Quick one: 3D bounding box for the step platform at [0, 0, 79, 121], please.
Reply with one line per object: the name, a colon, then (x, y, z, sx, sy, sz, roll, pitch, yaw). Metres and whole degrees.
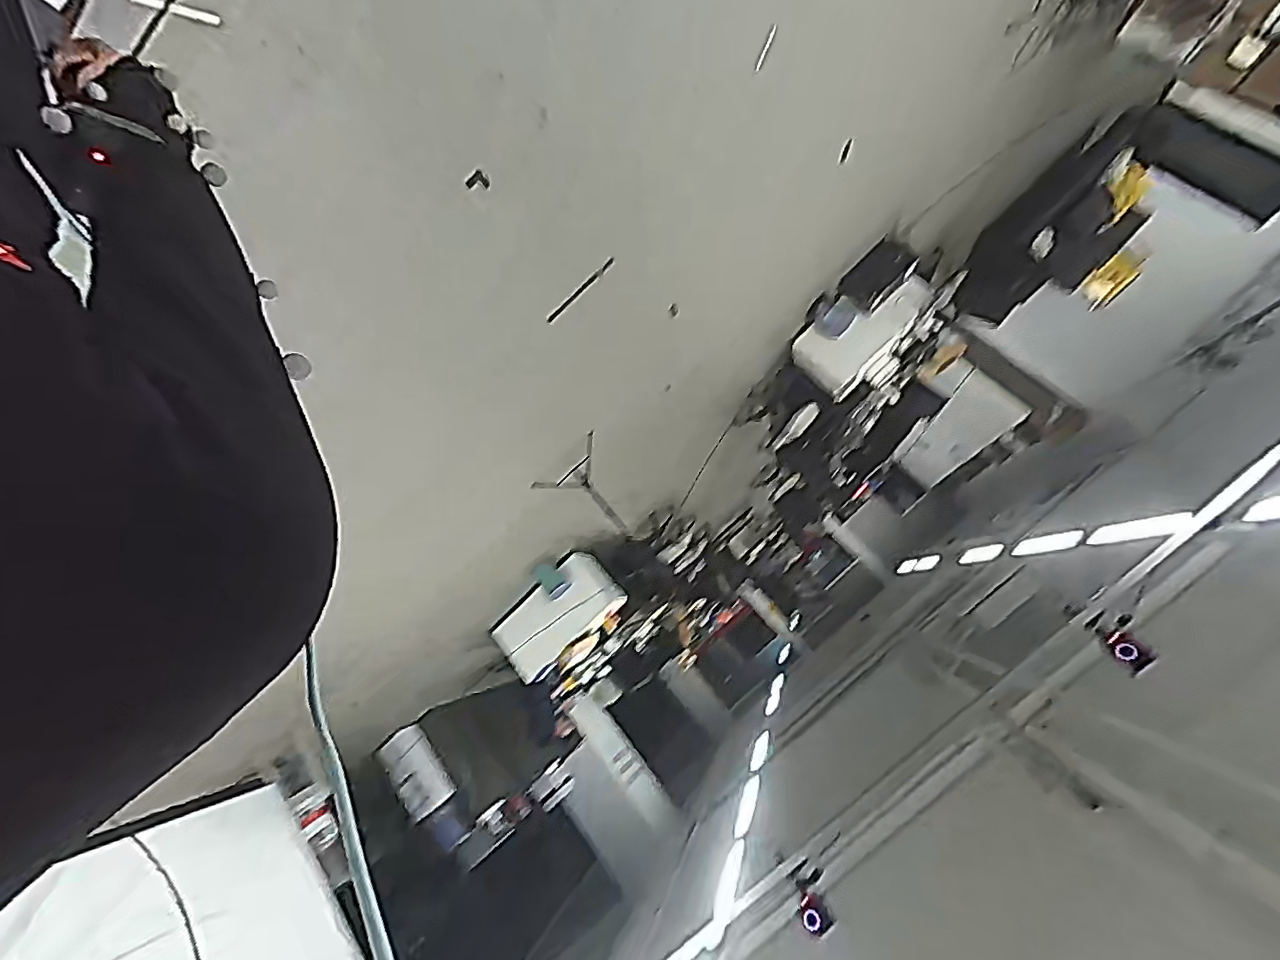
step platform: (-1.090, -0.753, 0.578, 0.286, 0.204, 0.684, -44, 159, -1)
